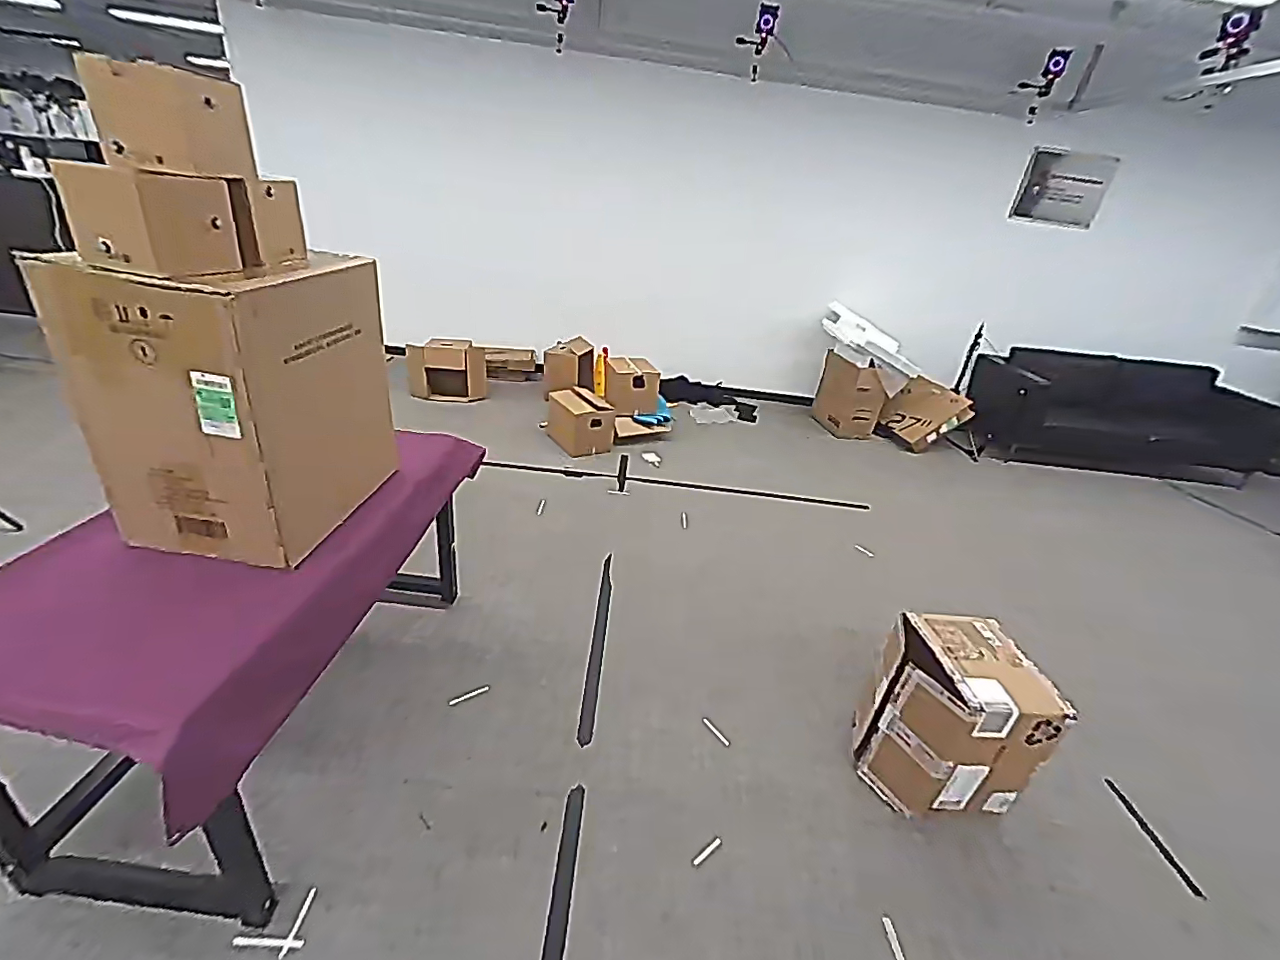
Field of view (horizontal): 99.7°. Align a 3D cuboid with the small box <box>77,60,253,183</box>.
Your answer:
[{"bbox_3d":[-0.875,-0.663,1.021,0.168,0.176,0.179,7,27,-2],"label":"small box"}]

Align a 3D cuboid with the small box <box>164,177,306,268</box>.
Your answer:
[{"bbox_3d":[-0.885,-0.572,1.201,0.179,0.176,0.168,7,29,1],"label":"small box"}]
